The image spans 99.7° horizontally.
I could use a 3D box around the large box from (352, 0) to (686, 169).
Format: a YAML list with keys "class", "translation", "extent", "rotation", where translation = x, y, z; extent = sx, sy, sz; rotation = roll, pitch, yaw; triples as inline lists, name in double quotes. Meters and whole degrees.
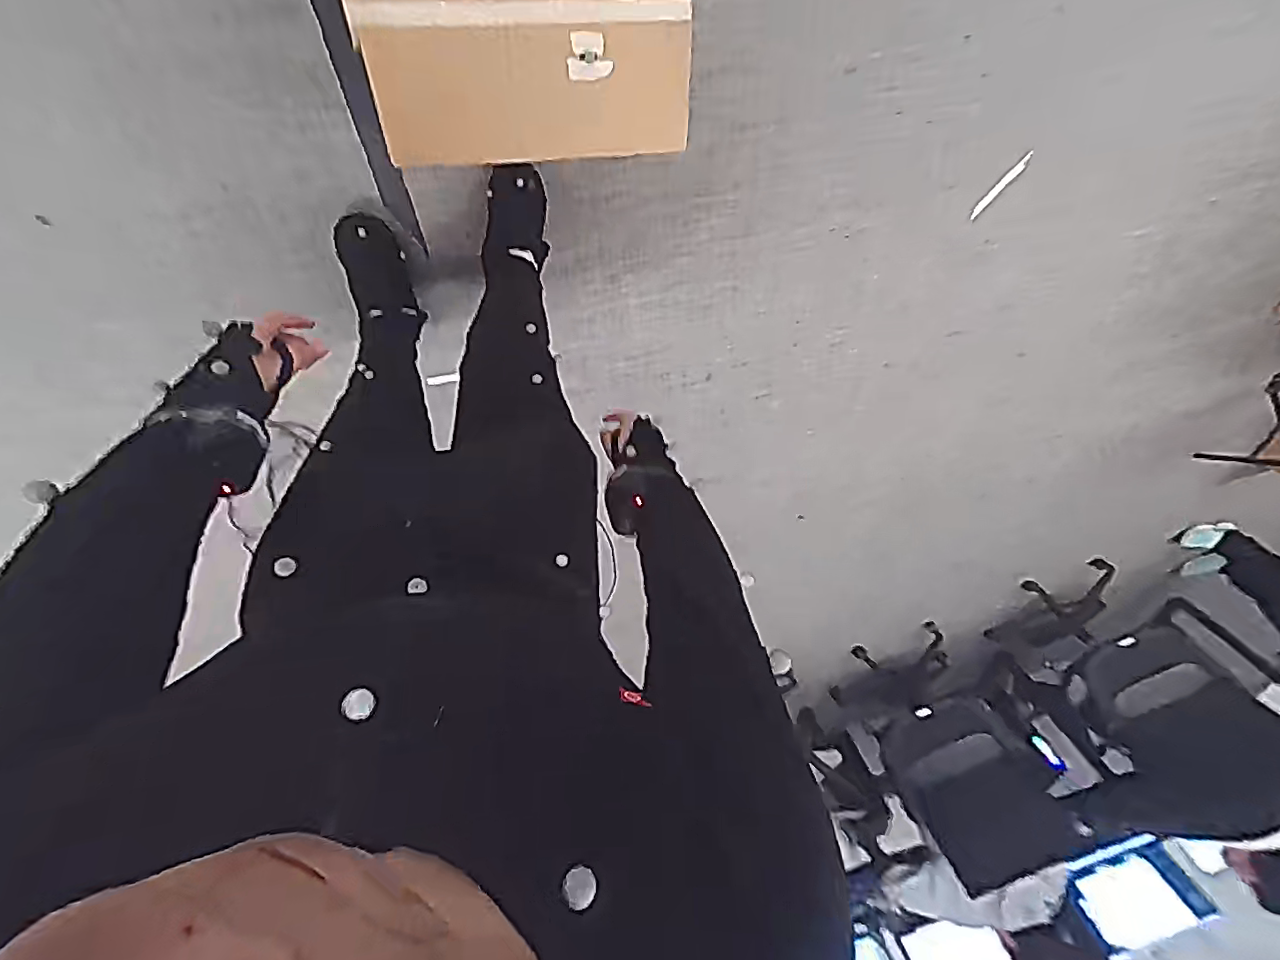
- class: "large box"
  translation: [-0.172, -0.653, 0.759]
  extent: [0.408, 0.320, 0.320]
  rotation: [-10, 131, -11]
